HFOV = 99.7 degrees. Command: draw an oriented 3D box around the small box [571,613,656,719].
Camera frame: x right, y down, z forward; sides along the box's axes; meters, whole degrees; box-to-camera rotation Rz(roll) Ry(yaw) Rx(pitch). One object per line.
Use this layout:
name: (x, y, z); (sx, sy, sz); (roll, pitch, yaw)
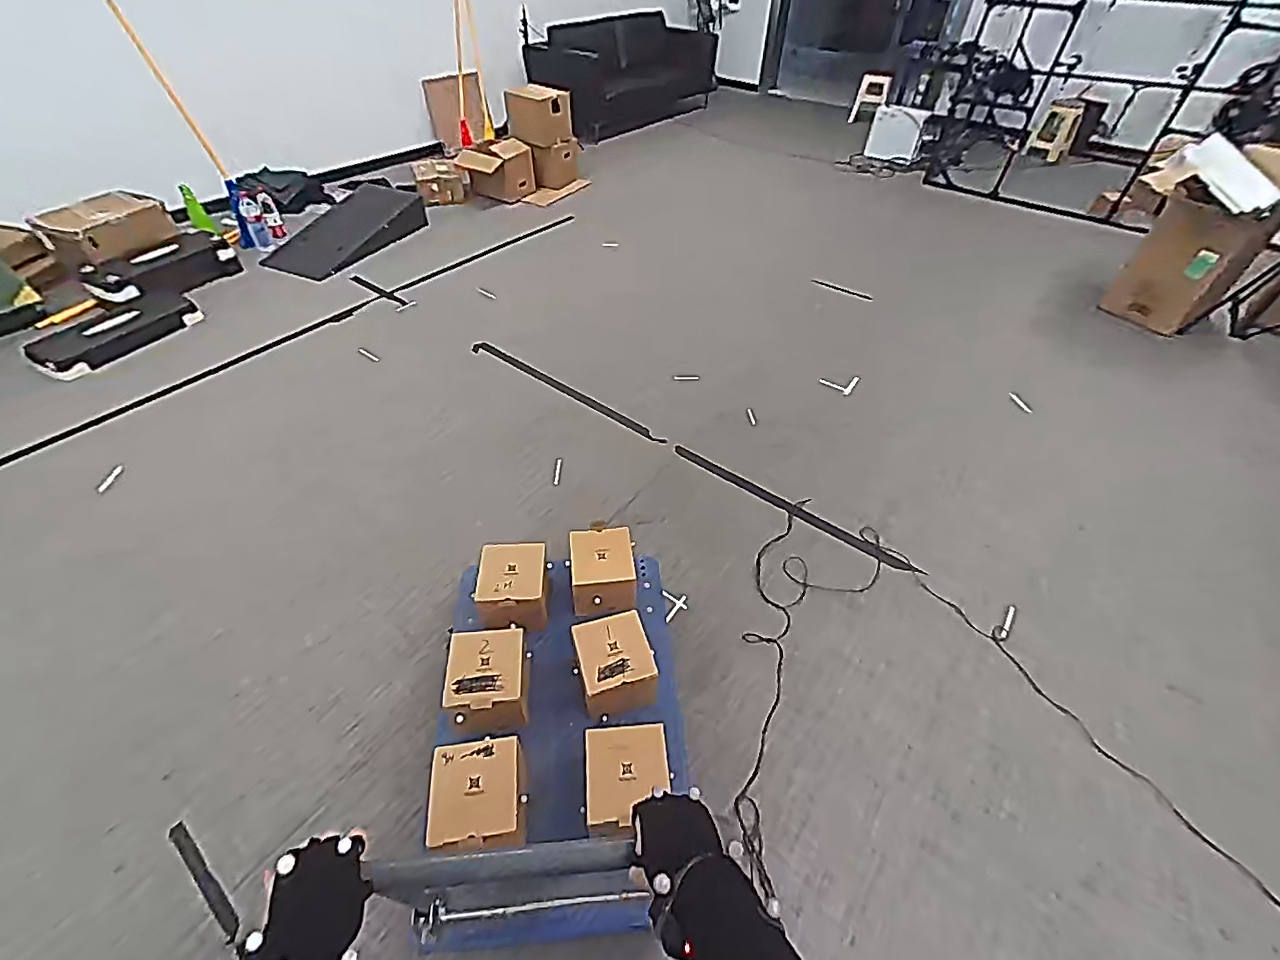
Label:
small box: (-0.066, 0.455, 1.309); (0.168, 0.176, 0.179); (-11, 46, -13)

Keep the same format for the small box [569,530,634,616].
small box: (-0.107, 0.262, 1.497); (0.168, 0.176, 0.179); (-4, 46, -7)

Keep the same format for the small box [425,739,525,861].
small box: (-0.325, 0.655, 1.101); (0.168, 0.176, 0.179); (-4, 47, -8)

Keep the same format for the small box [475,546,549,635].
small box: (-0.334, 0.296, 1.448); (0.168, 0.176, 0.179); (-1, 47, -4)

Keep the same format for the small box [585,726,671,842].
small box: (-0.029, 0.640, 1.132); (0.168, 0.176, 0.179); (-1, 45, -5)
